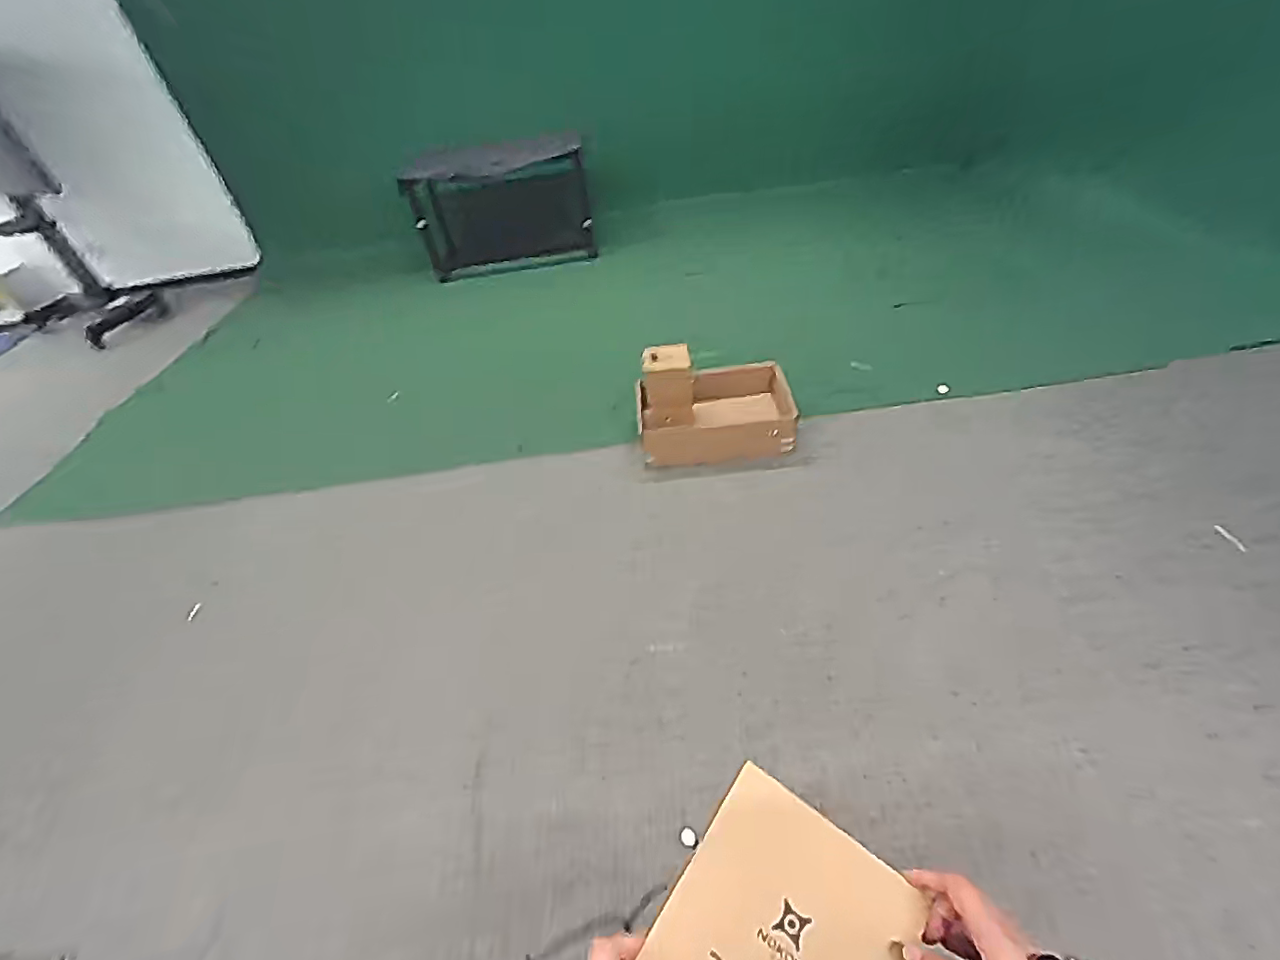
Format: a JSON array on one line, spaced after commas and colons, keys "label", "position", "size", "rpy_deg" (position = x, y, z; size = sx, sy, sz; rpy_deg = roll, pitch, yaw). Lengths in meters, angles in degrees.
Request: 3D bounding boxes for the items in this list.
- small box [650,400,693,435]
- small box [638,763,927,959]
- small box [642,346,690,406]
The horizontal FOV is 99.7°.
[{"label": "small box", "position": [0.129, -0.302, 2.289], "size": [0.168, 0.176, 0.179], "rpy_deg": [-7, 44, 2]}, {"label": "small box", "position": [0.112, 0.391, 0.475], "size": [0.168, 0.176, 0.179], "rpy_deg": [30, 60, 22]}, {"label": "small box", "position": [0.105, -0.413, 2.169], "size": [0.179, 0.176, 0.168], "rpy_deg": [-6, 44, 2]}]
